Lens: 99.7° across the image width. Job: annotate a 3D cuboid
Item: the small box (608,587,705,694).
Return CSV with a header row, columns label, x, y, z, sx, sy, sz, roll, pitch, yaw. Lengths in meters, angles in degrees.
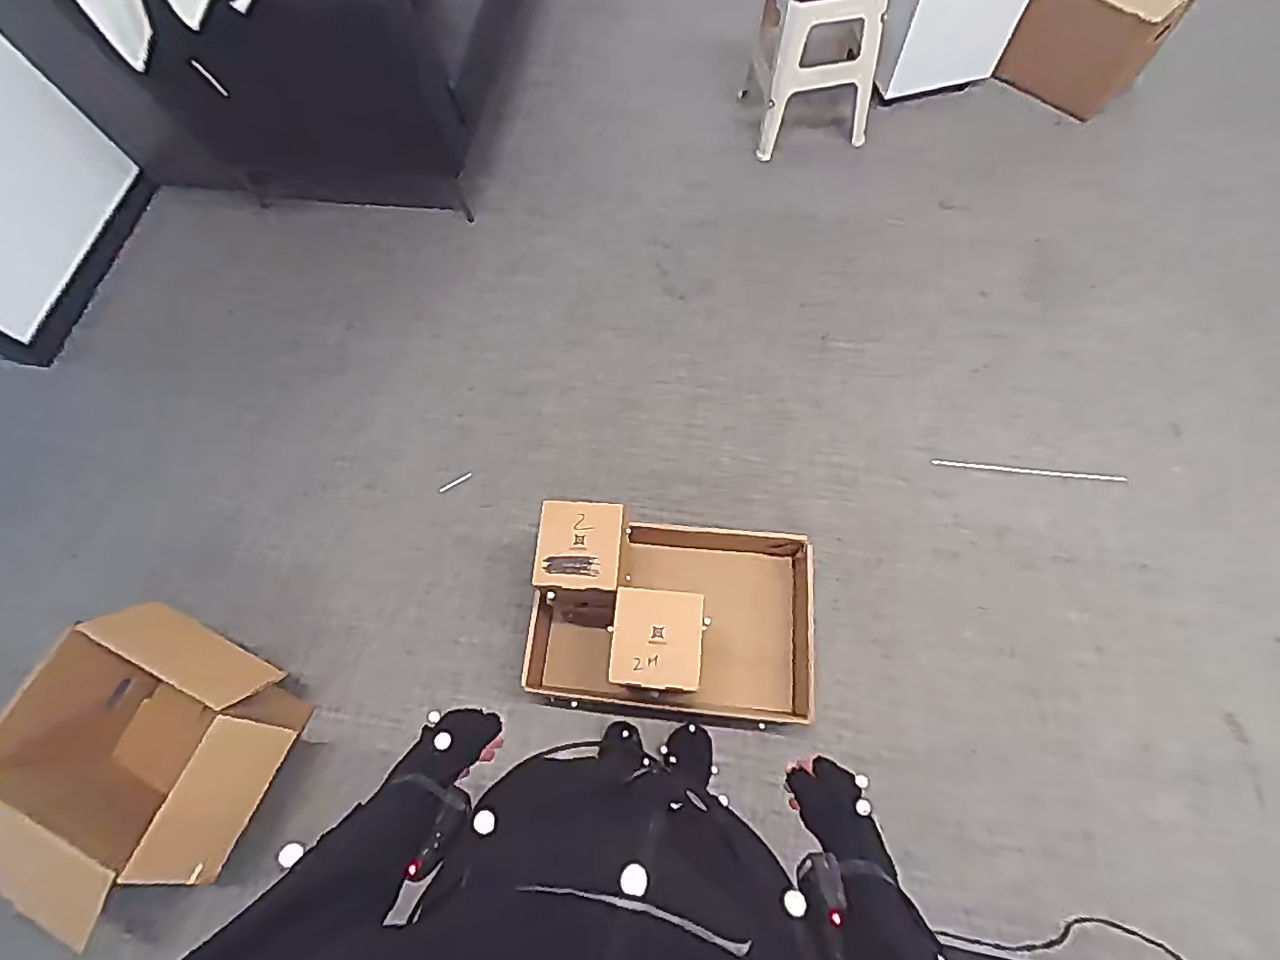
label,x,y,z,sx,sy,sz,roll,pitch,yaw
small box,0.034,0.318,1.059,0.168,0.176,0.179,4,69,5
